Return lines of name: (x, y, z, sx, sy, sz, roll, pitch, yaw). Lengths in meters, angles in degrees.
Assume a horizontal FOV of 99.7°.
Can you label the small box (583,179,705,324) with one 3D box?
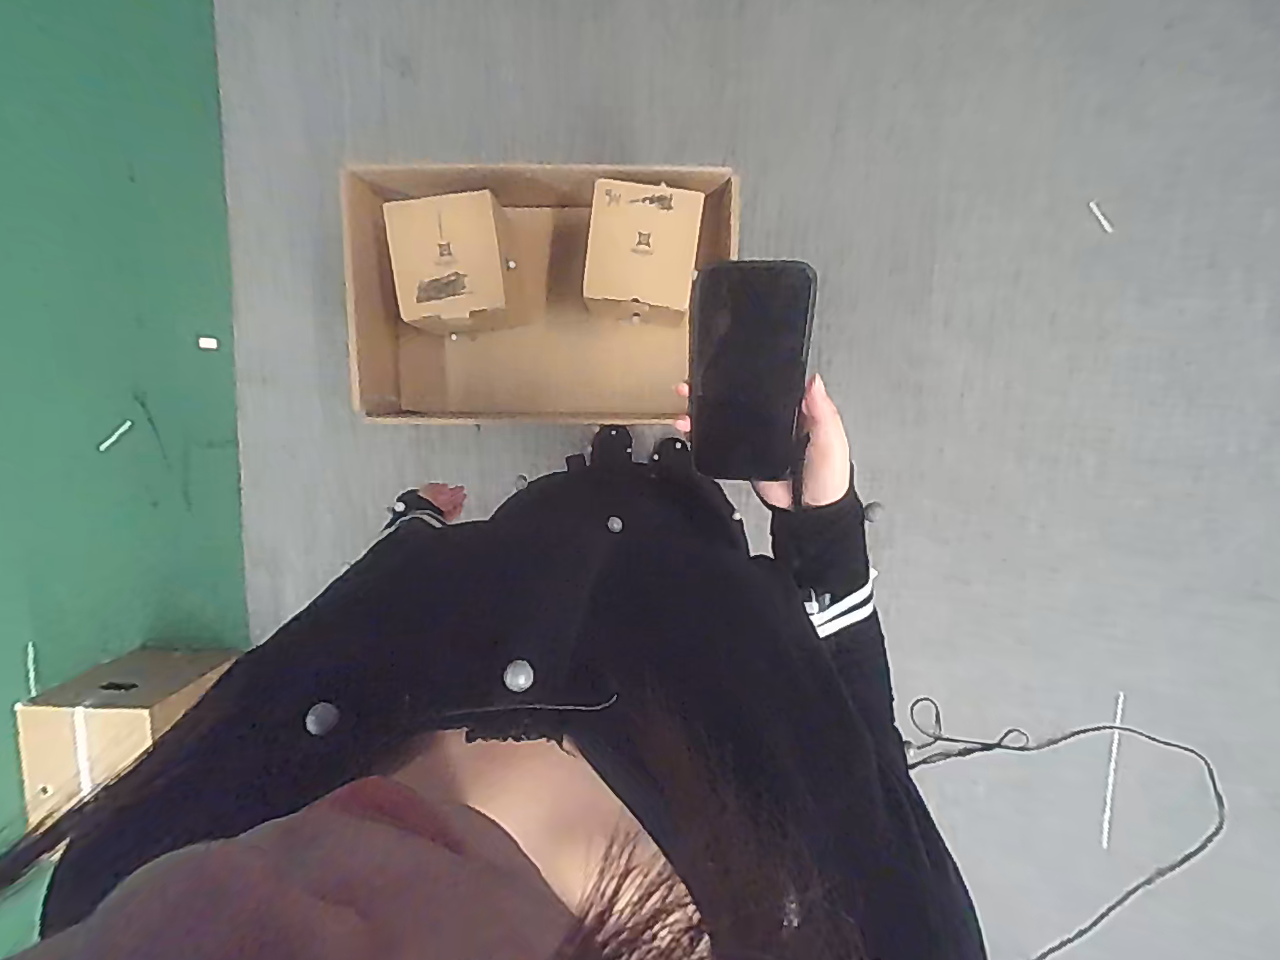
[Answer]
small box: (0.007, -0.363, 0.892, 0.168, 0.176, 0.179, 8, 98, 0)
